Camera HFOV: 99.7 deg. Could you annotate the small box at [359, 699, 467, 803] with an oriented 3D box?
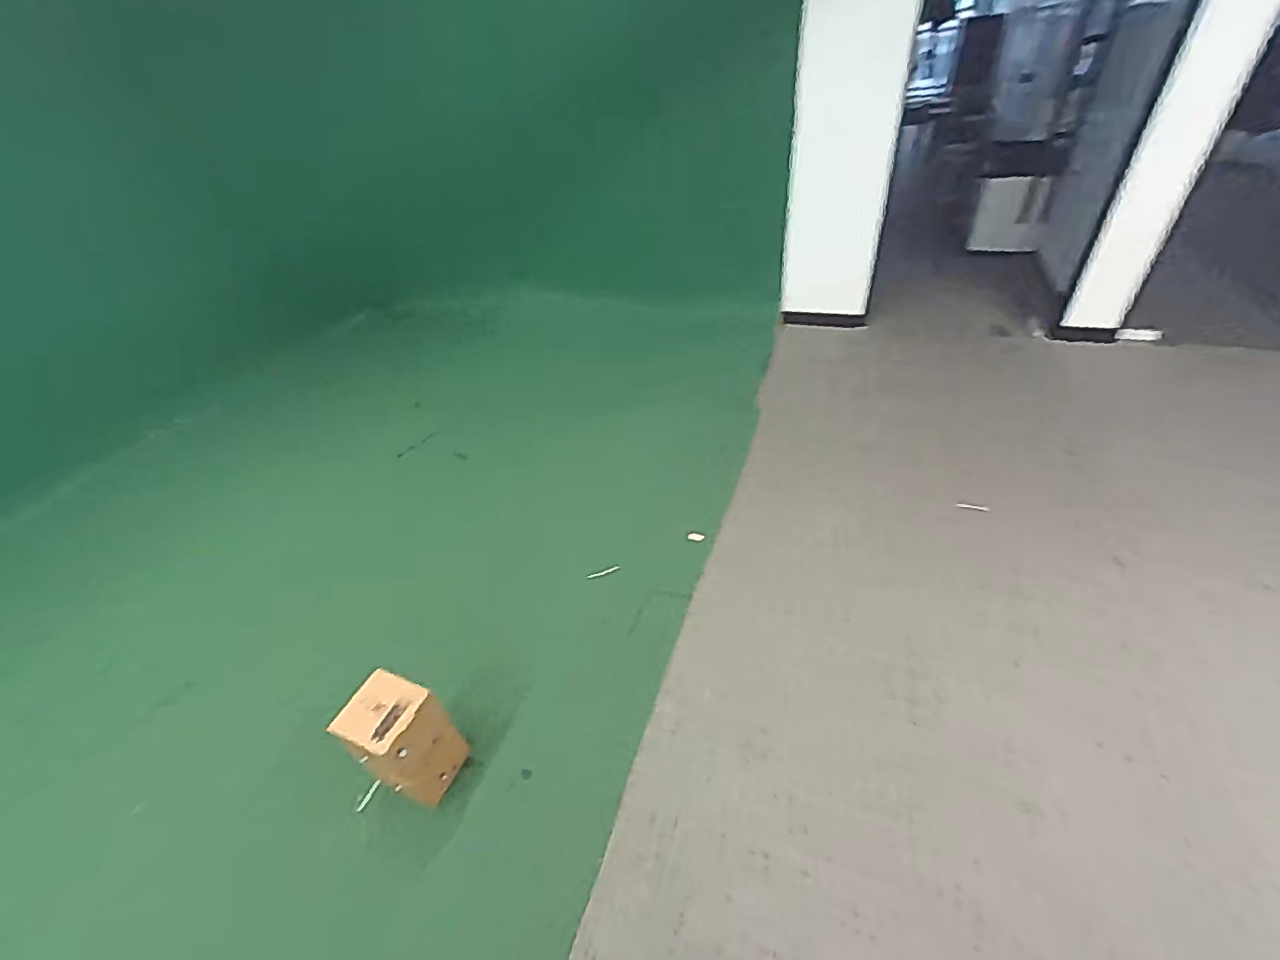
[{"bbox_3d":[-0.596,0.725,1.441,0.179,0.176,0.168,13,45,21],"label":"small box"}]
